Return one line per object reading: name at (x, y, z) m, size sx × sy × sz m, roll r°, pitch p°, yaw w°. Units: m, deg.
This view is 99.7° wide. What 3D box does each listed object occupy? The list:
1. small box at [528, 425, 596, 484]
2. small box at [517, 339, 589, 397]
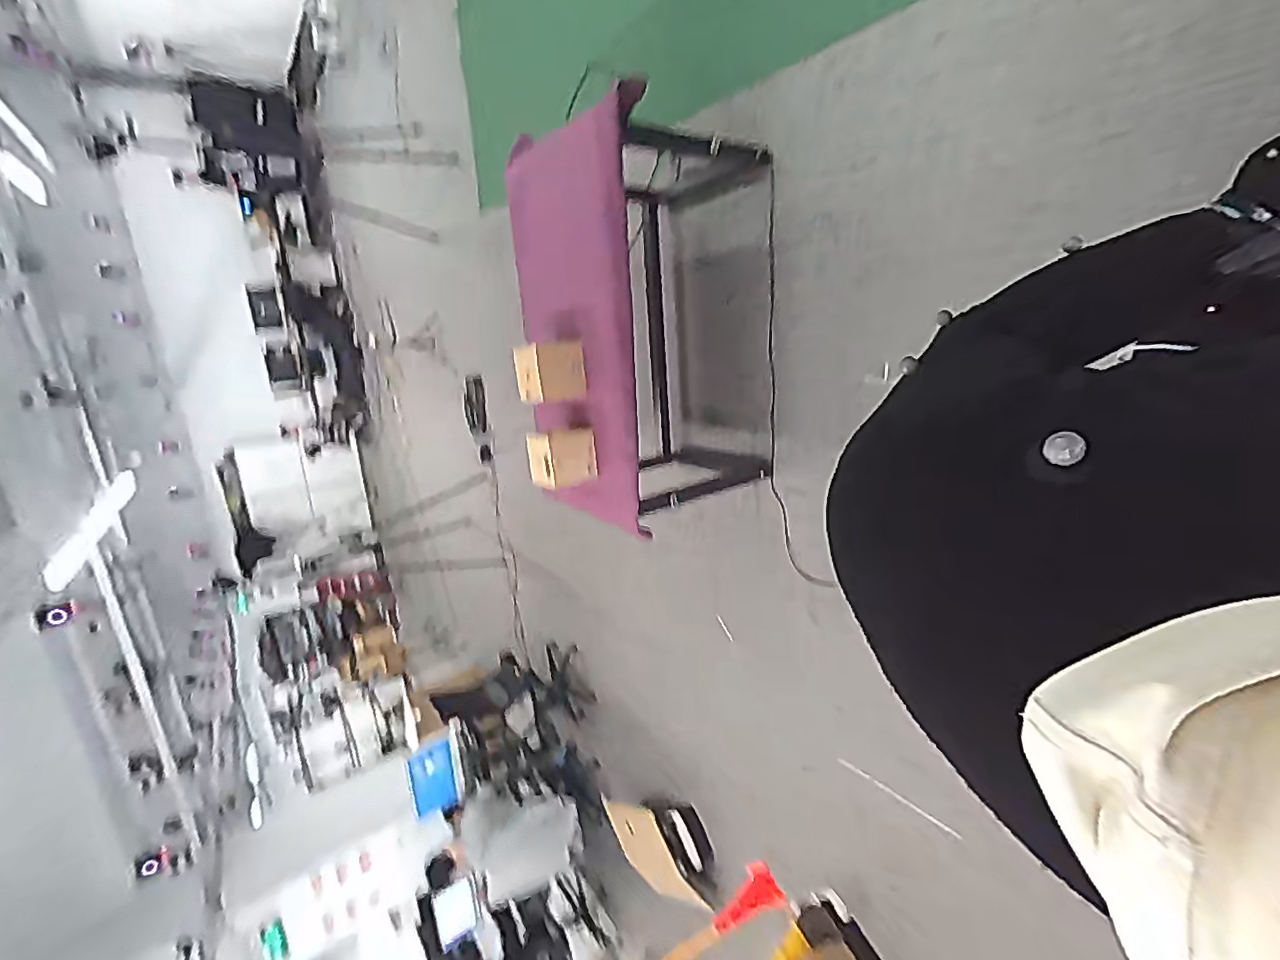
small box at (-0.260, -0.093, 1.837) m, size 0.179 × 0.176 × 0.168 m, roll 12°, pitch 111°, yaw 53°
small box at (-0.285, -0.368, 1.778) m, size 0.168 × 0.176 × 0.179 m, roll 11°, pitch 110°, yaw 53°
